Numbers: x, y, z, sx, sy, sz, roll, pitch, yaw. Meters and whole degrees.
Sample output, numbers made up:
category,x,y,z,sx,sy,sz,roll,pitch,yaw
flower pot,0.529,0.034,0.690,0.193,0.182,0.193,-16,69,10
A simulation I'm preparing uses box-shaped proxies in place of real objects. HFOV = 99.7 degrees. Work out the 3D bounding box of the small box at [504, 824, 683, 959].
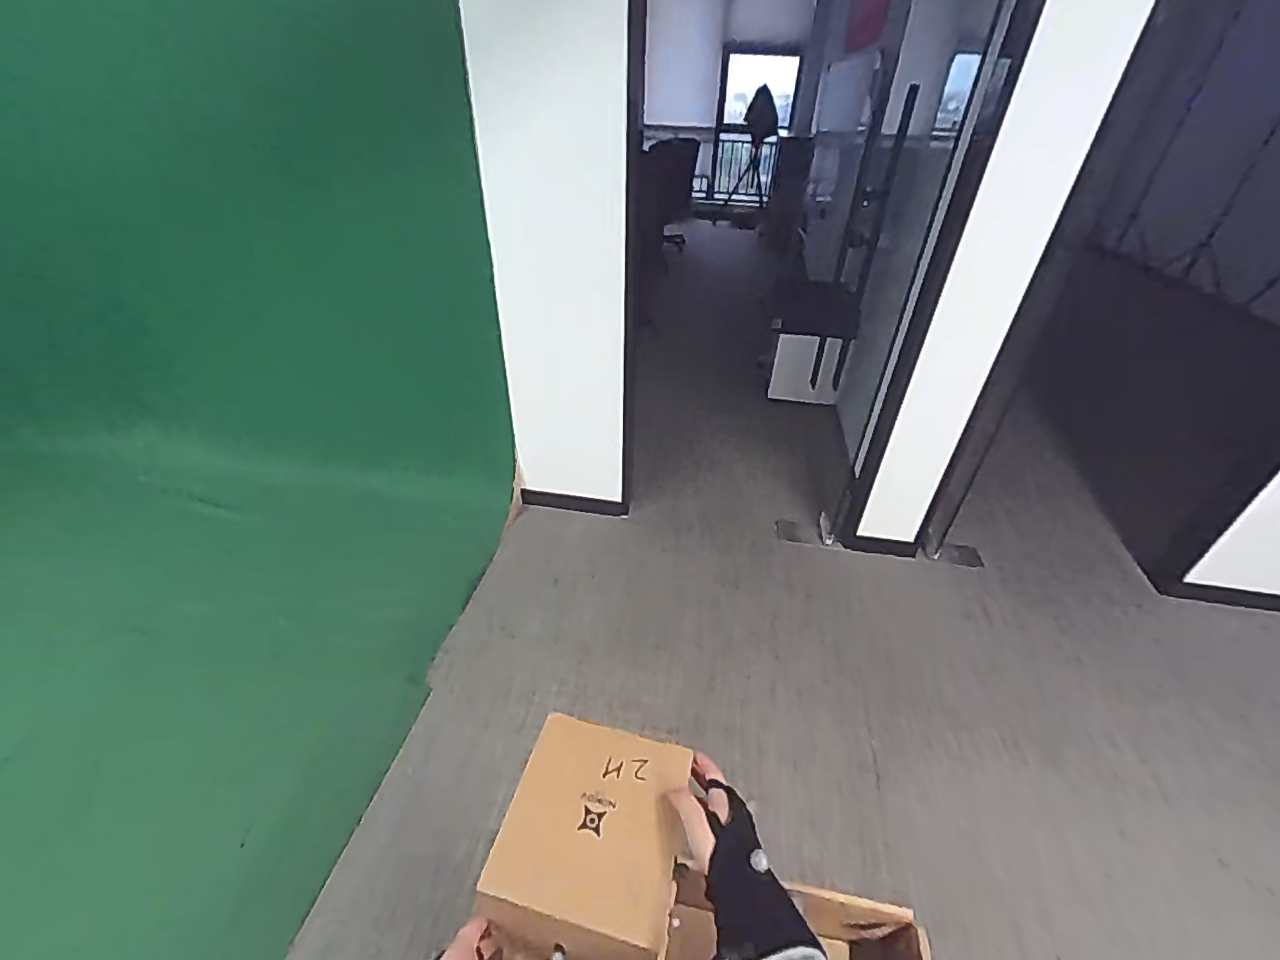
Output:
category,x,y,z,sx,sy,sz,roll,pitch,yaw
small box,-0.048,0.521,0.666,0.168,0.176,0.179,11,37,9

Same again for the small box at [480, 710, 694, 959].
category,x,y,z,sx,sy,sz,roll,pitch,yaw
small box,-0.045,0.386,0.572,0.168,0.176,0.179,12,38,10
